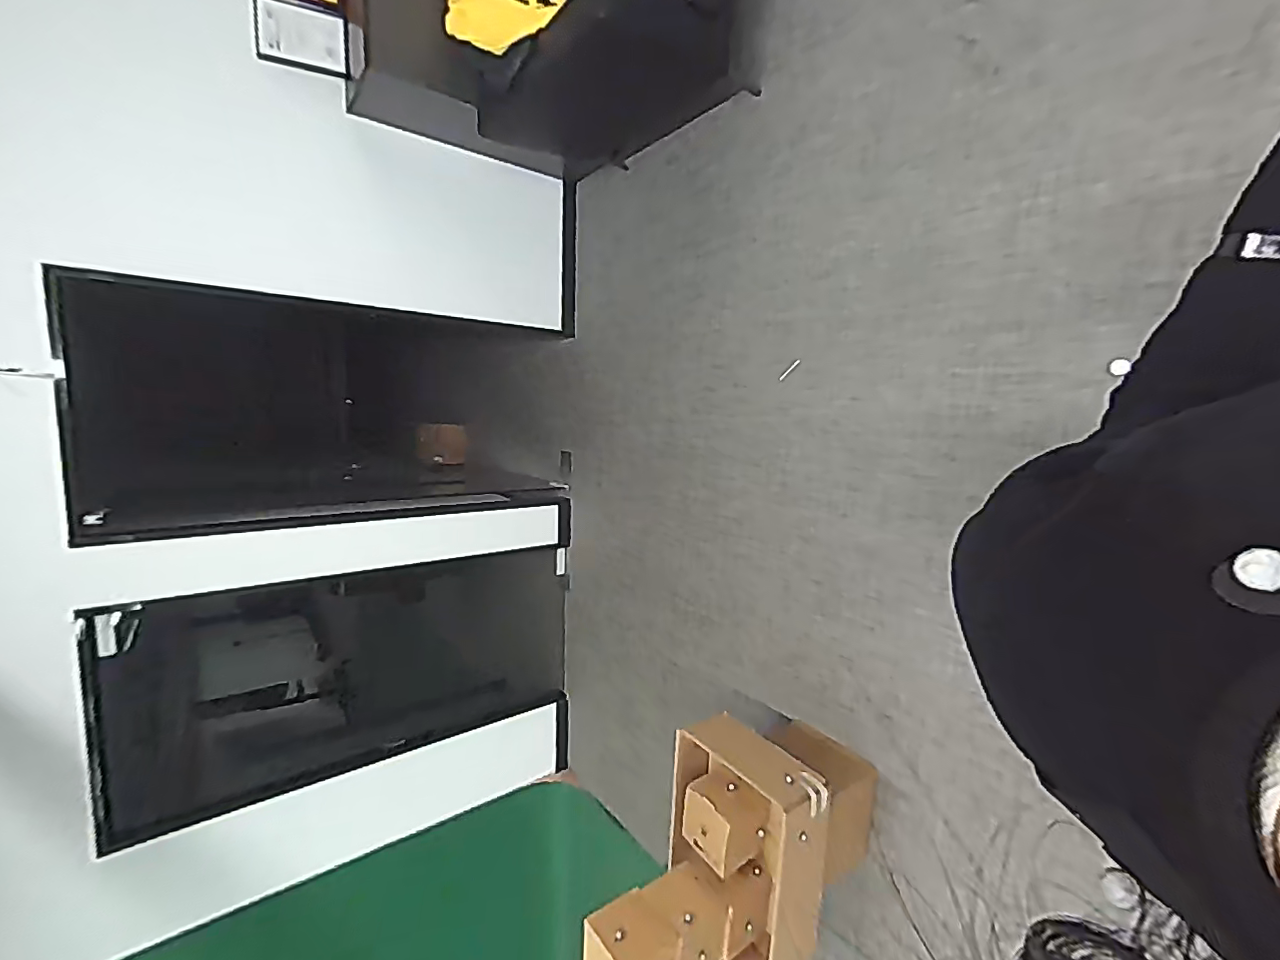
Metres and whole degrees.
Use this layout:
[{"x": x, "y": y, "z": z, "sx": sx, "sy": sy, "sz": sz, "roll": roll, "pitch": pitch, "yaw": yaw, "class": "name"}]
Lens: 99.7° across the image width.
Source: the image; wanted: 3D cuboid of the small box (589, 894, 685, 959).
[{"x": -0.010, "y": 1.179, "z": 1.338, "sx": 0.179, "sy": 0.176, "sz": 0.168, "roll": 11, "pitch": 101, "yaw": 53, "class": "small box"}]
